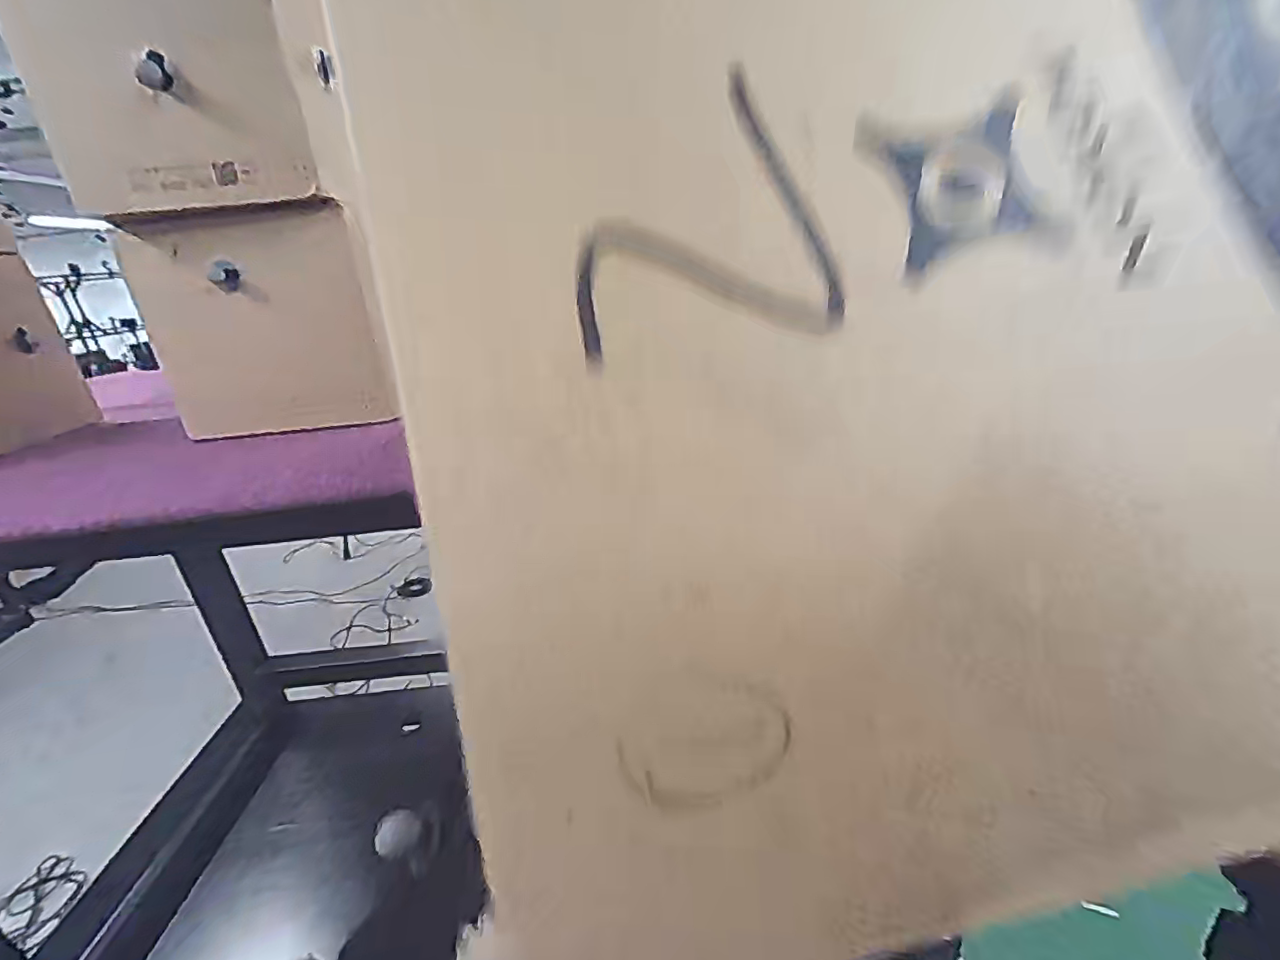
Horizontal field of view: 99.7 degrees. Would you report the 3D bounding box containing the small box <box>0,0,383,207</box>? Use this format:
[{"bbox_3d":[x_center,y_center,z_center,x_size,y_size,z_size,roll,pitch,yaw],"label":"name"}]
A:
[{"bbox_3d":[-0.323,-0.299,0.416,0.168,0.176,0.179,-8,22,-4],"label":"small box"}]

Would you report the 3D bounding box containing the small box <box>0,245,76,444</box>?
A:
[{"bbox_3d":[-0.646,-0.099,0.452,0.168,0.176,0.179,-8,24,-3],"label":"small box"}]

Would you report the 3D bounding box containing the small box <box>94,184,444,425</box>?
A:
[{"bbox_3d":[-0.302,-0.152,0.487,0.179,0.176,0.168,-5,22,0],"label":"small box"}]
